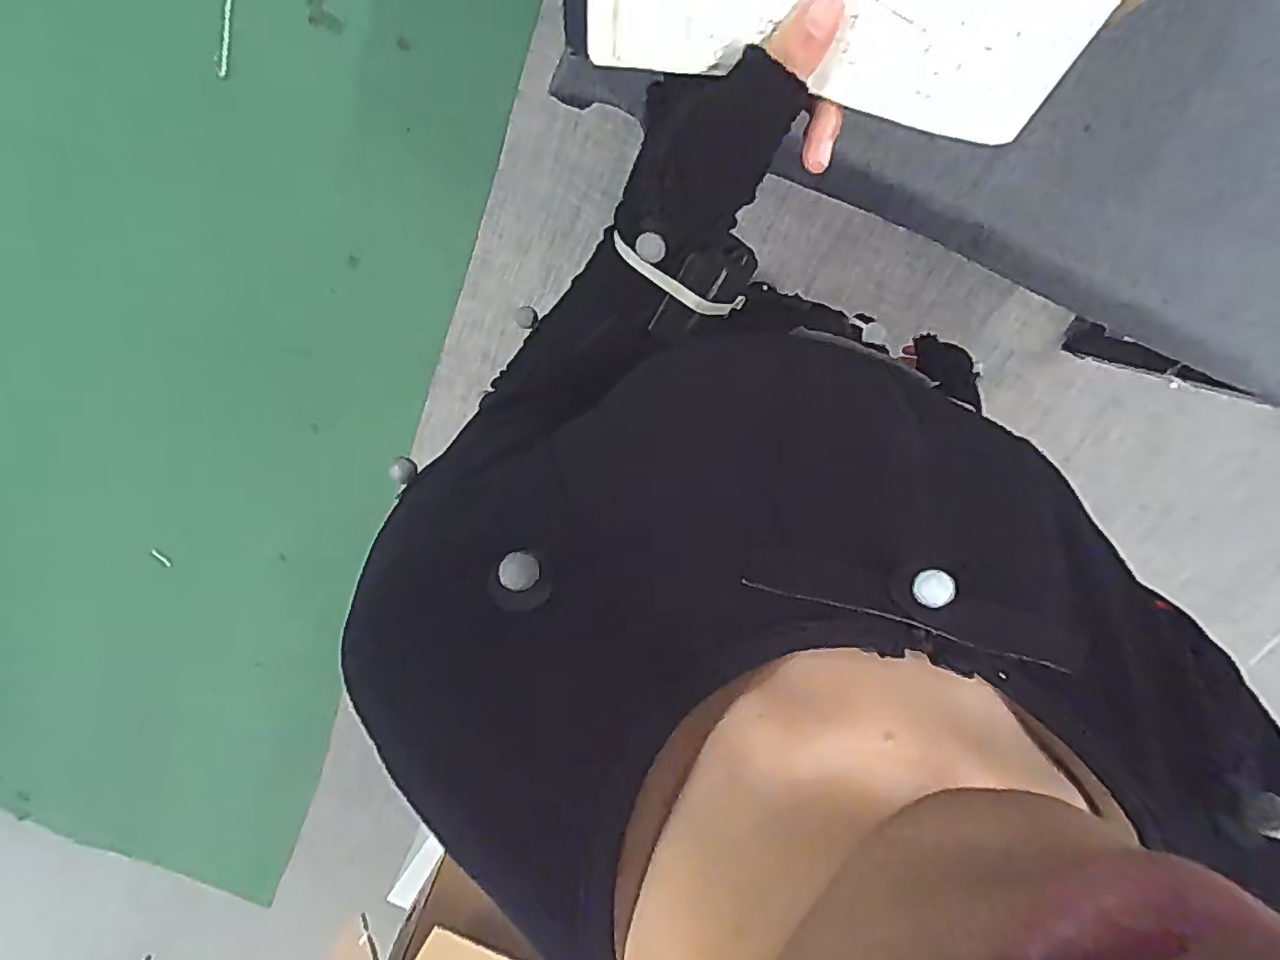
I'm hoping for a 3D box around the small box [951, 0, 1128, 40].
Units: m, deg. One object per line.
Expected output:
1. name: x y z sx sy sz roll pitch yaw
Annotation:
1. small box: 0.369 -0.511 0.434 0.168 0.176 0.179 19 112 -3
